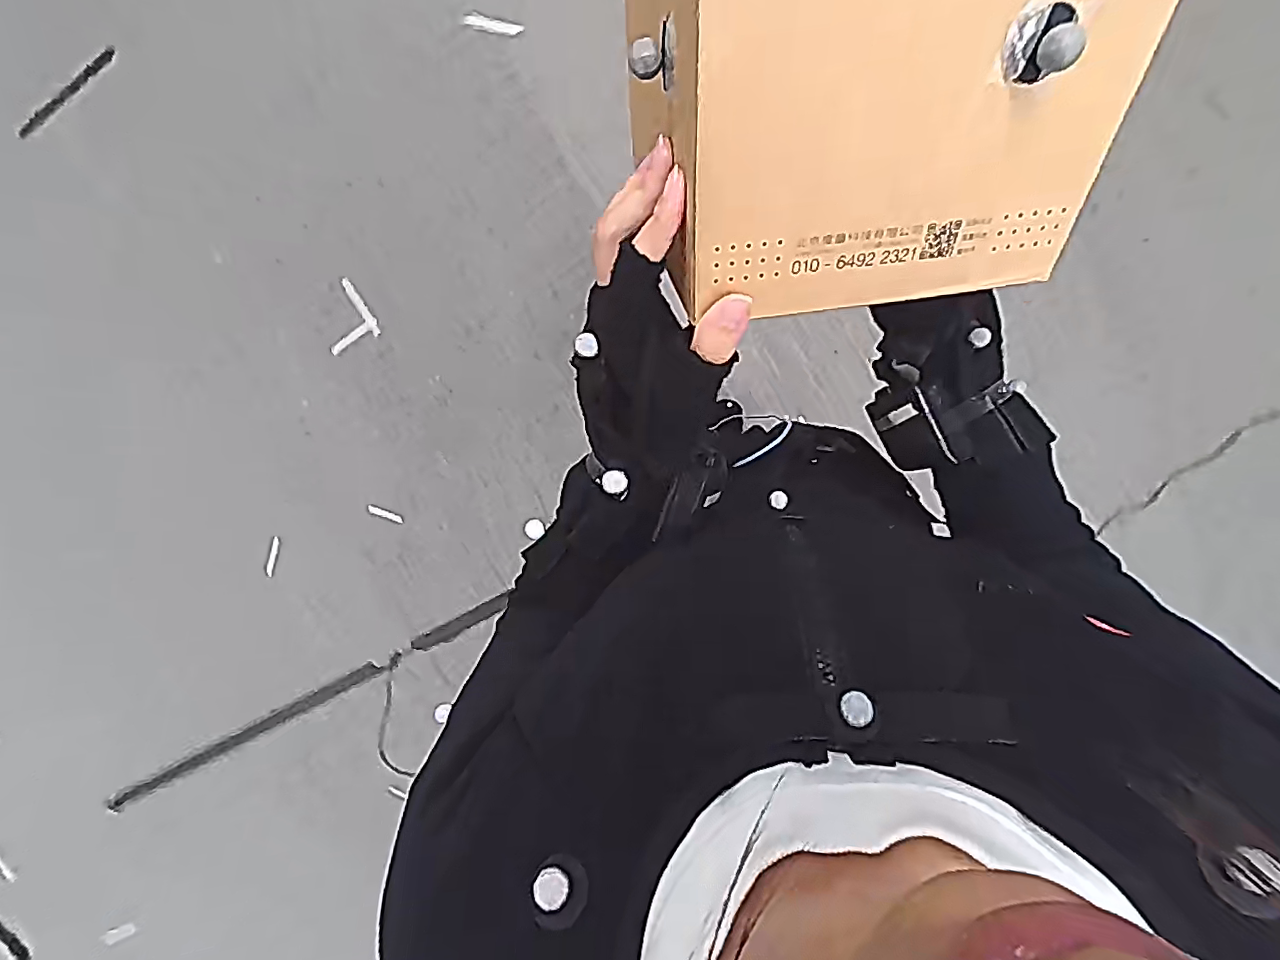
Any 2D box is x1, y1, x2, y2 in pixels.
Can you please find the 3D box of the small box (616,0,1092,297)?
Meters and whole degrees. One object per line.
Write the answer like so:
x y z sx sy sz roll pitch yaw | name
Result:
0.082 -0.201 0.265 0.168 0.179 0.176 -9 133 -4 | small box
